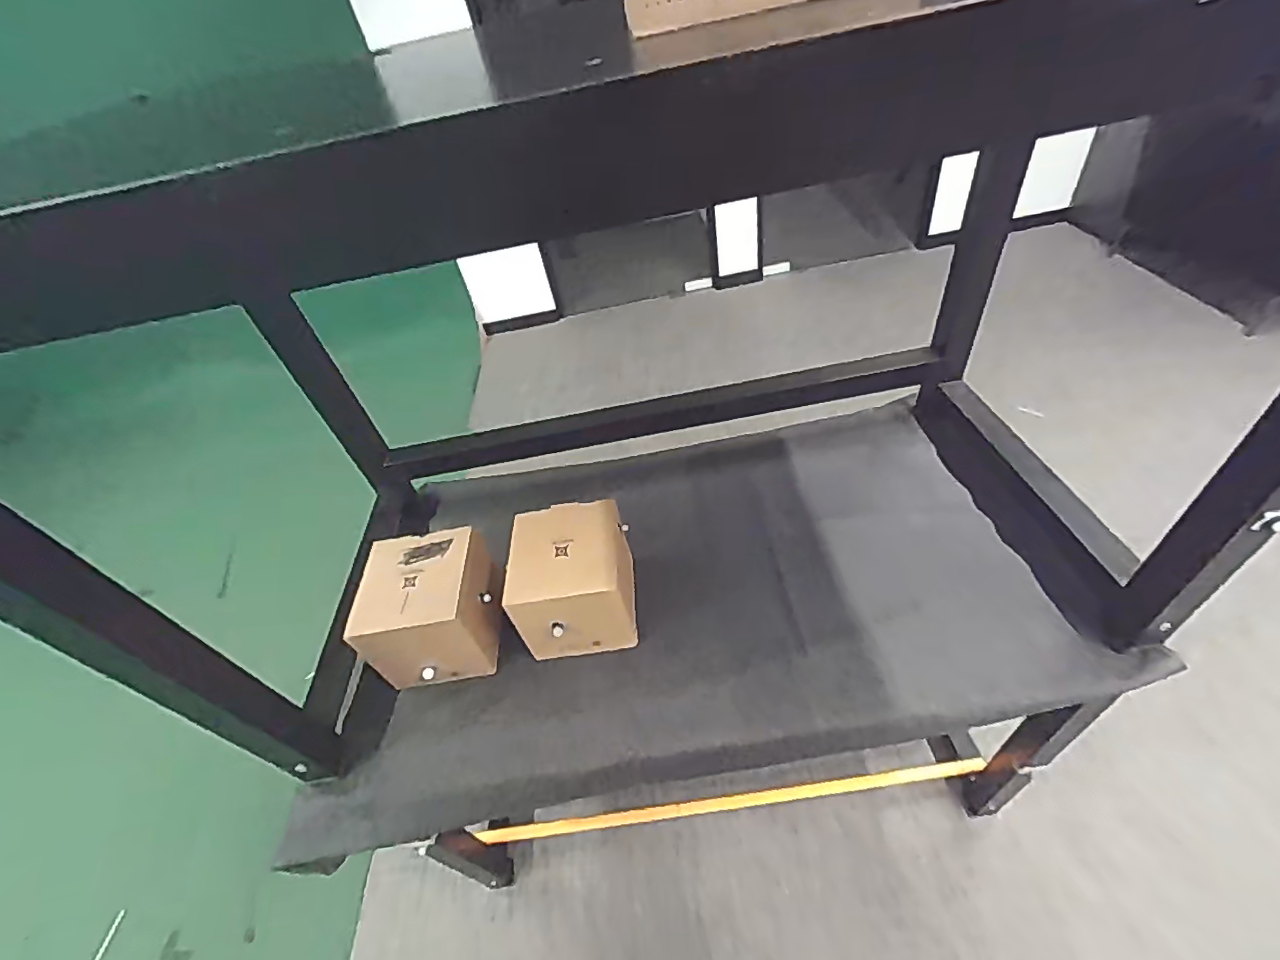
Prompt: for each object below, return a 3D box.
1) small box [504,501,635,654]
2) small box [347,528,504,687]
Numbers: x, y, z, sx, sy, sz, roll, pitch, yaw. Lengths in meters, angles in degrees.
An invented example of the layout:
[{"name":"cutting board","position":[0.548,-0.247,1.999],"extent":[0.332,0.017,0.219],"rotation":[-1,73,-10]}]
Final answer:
[{"name":"small box","position":[-0.104,0.162,0.868],"extent":[0.168,0.176,0.179],"rotation":[-9,43,3]},{"name":"small box","position":[-0.328,0.205,0.871],"extent":[0.168,0.176,0.179],"rotation":[-10,44,3]}]
